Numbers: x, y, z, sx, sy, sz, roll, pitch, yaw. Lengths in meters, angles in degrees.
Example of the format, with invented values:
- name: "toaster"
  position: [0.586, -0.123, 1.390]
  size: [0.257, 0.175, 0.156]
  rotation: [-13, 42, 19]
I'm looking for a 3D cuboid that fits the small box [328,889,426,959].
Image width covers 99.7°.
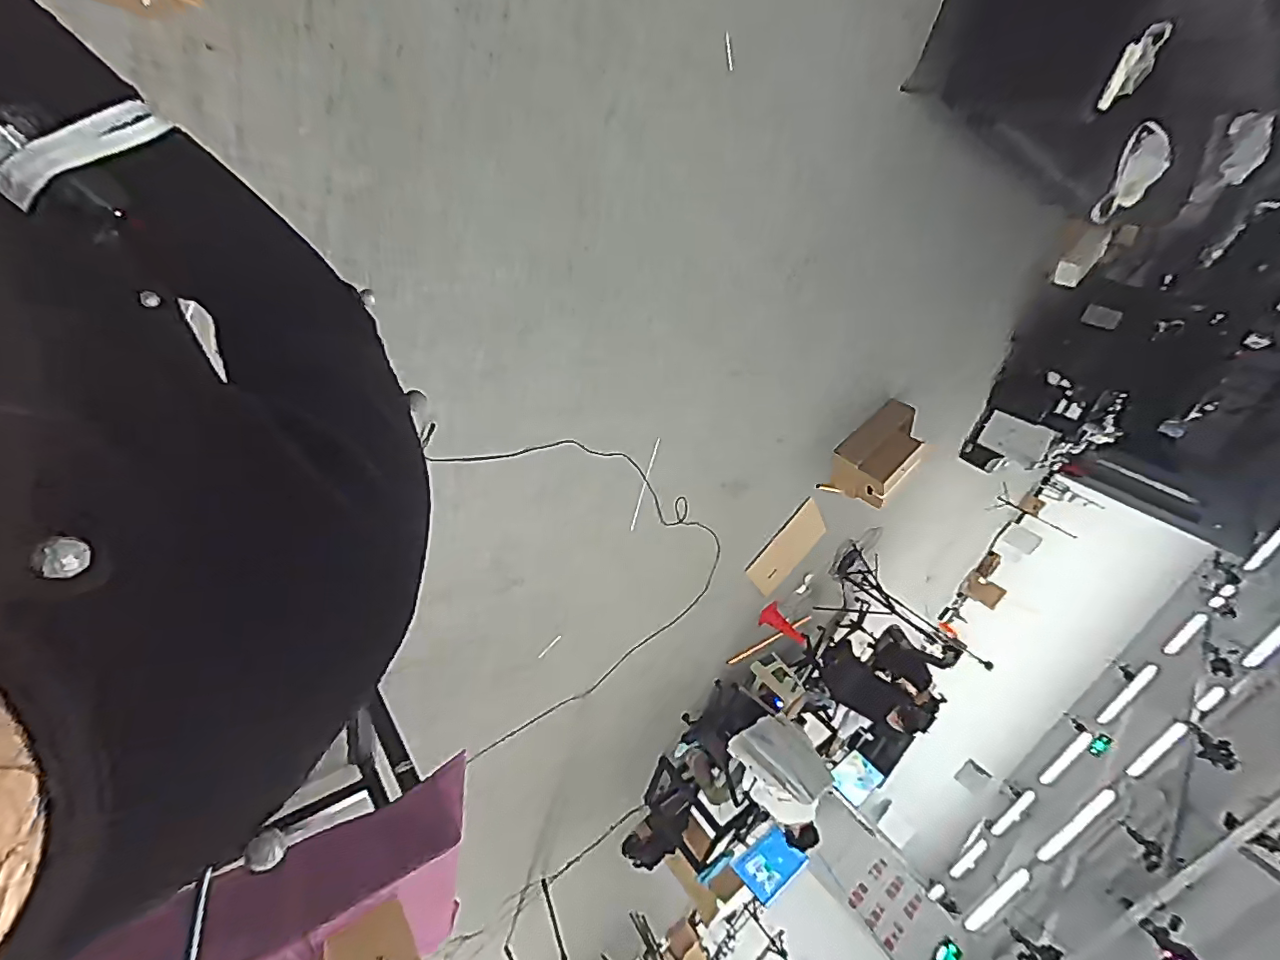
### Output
- name: "small box"
  position: [-0.668, 1.195, 1.370]
  size: [0.179, 0.176, 0.168]
  rotation: [-8, 126, -41]
